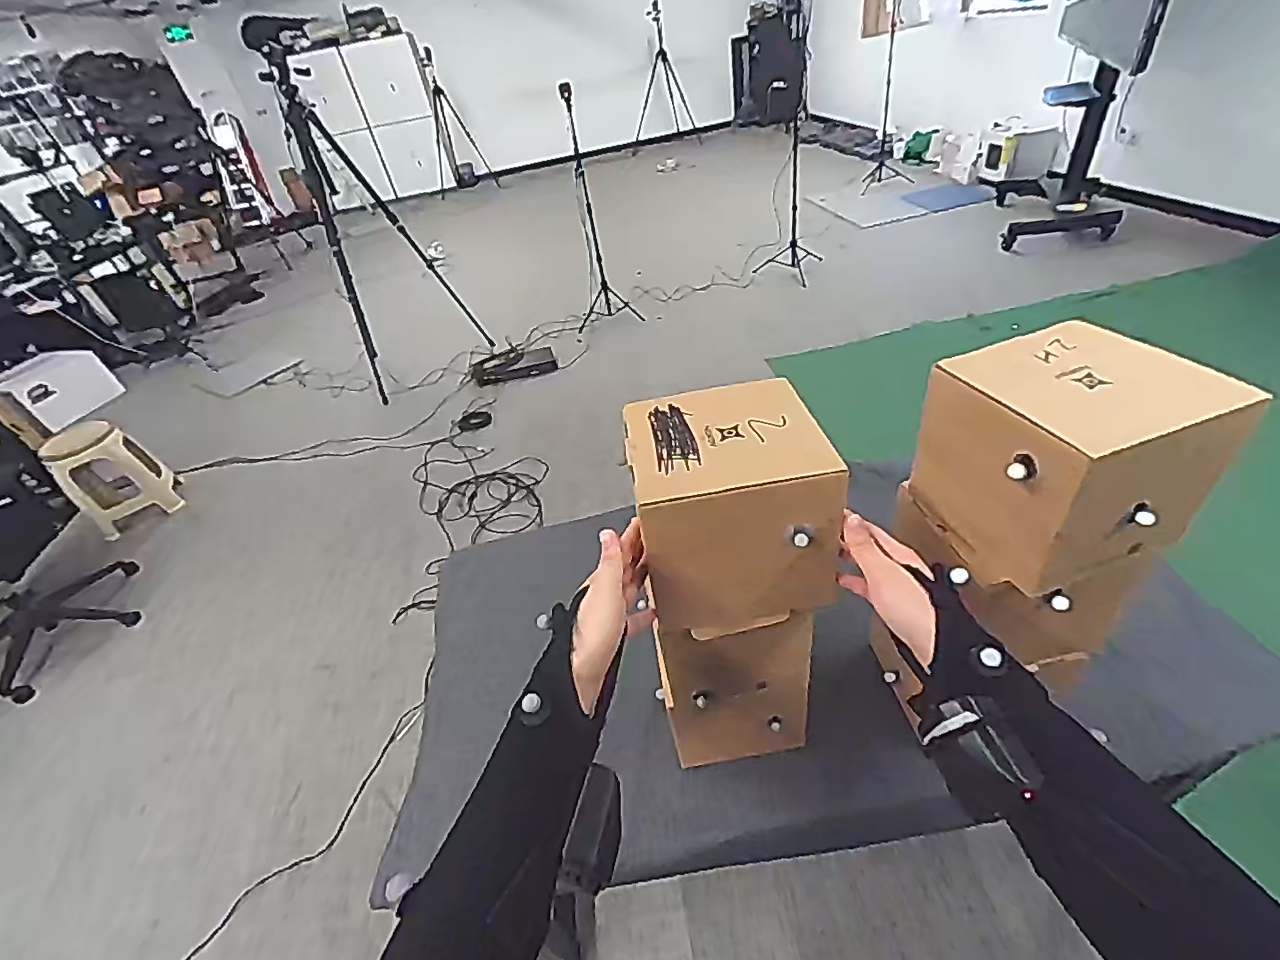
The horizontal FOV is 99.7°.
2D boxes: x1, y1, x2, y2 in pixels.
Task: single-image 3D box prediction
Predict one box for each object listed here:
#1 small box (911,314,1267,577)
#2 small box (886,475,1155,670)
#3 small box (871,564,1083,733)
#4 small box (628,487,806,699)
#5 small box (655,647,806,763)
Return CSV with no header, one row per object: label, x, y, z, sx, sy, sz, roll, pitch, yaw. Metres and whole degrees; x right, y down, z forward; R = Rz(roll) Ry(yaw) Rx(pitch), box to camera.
small box,0.391,-0.030,0.515,0.168,0.176,0.179,-18,39,-6
small box,0.411,0.092,0.625,0.179,0.176,0.168,-13,39,1
small box,0.430,0.218,0.727,0.168,0.176,0.179,-12,39,2
small box,0.091,0.141,0.654,0.168,0.176,0.179,-14,37,-2
small box,0.119,0.267,0.756,0.179,0.176,0.168,-13,38,2
